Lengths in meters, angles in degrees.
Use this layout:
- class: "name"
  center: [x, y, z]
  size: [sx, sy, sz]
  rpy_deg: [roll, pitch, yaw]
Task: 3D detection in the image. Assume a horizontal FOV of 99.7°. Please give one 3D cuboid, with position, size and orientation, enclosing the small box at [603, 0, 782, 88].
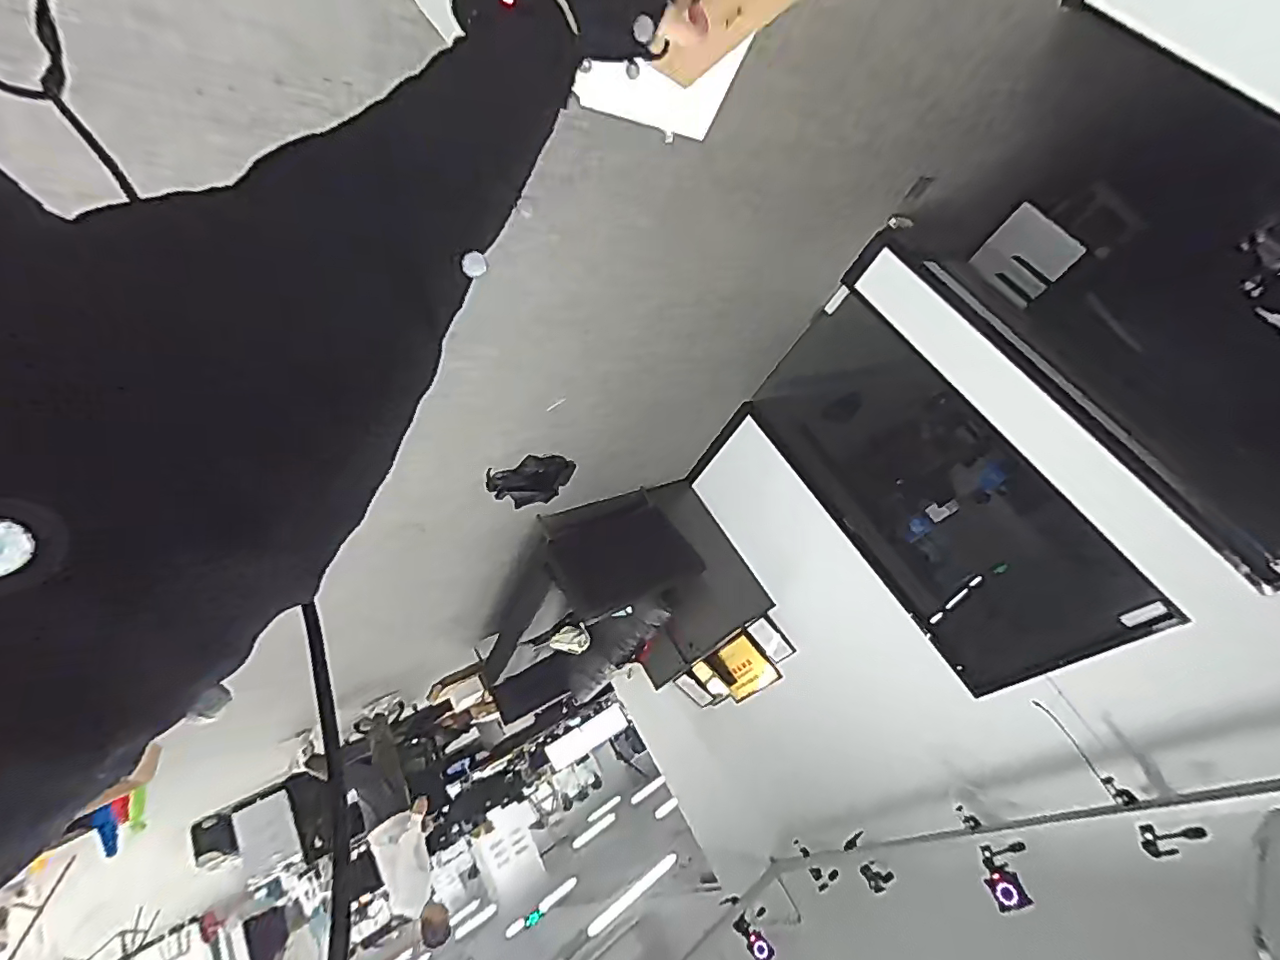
- class: "small box"
  center: [0.043, -0.521, 0.507]
  size: [0.168, 0.176, 0.179]
  rpy_deg: [-26, -167, 31]
